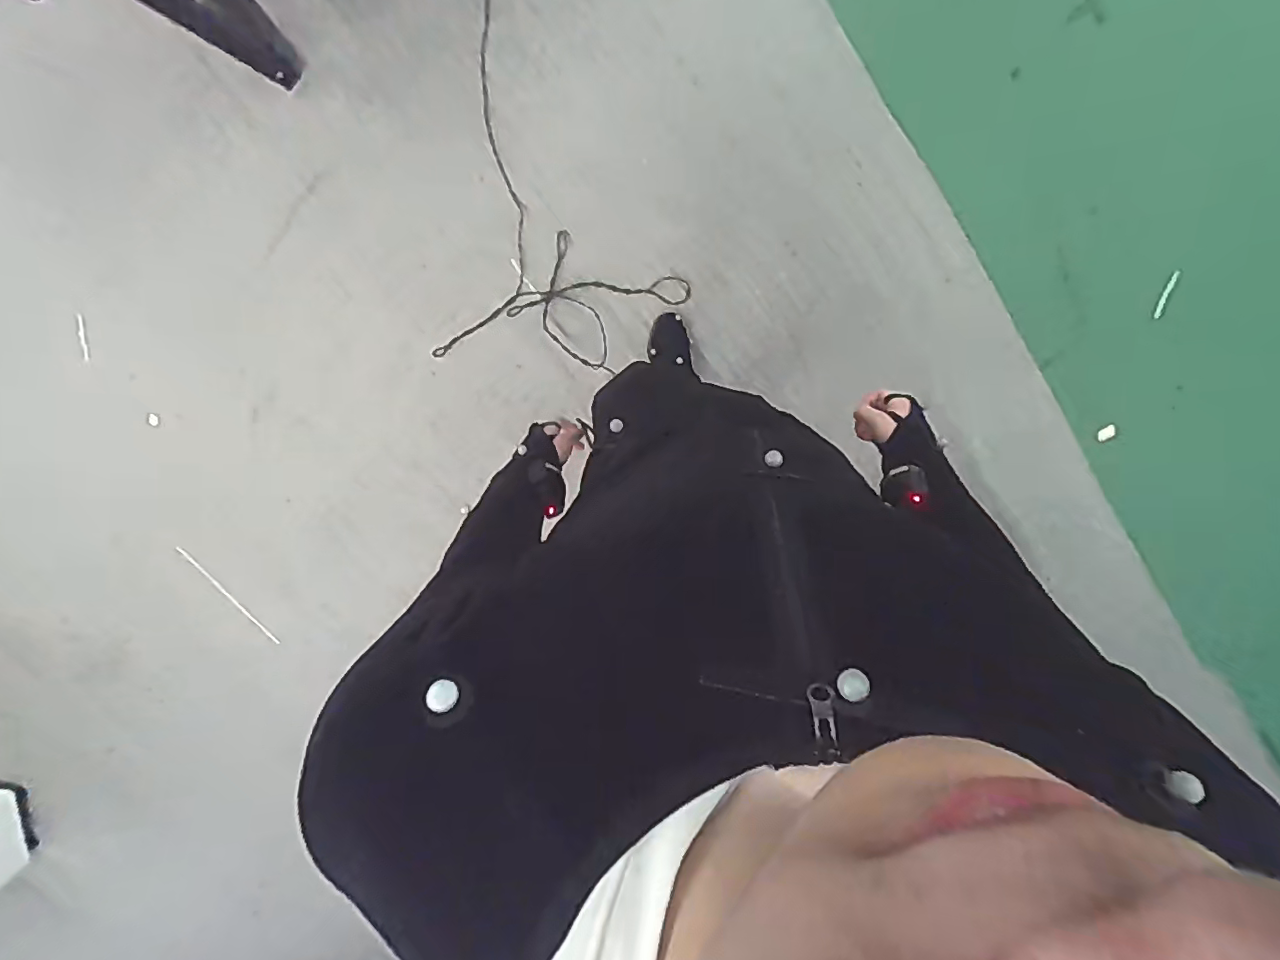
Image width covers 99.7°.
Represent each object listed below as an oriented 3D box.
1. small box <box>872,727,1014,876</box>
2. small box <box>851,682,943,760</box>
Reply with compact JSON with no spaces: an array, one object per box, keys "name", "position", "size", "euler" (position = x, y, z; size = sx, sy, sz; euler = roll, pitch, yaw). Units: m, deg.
[{"name":"small box","position":[0.617,0.658,1.121],"size":[0.168,0.176,0.179],"euler":[-32,100,12]},{"name":"small box","position":[0.630,0.619,1.277],"size":[0.168,0.176,0.179],"euler":[-32,100,11]}]
